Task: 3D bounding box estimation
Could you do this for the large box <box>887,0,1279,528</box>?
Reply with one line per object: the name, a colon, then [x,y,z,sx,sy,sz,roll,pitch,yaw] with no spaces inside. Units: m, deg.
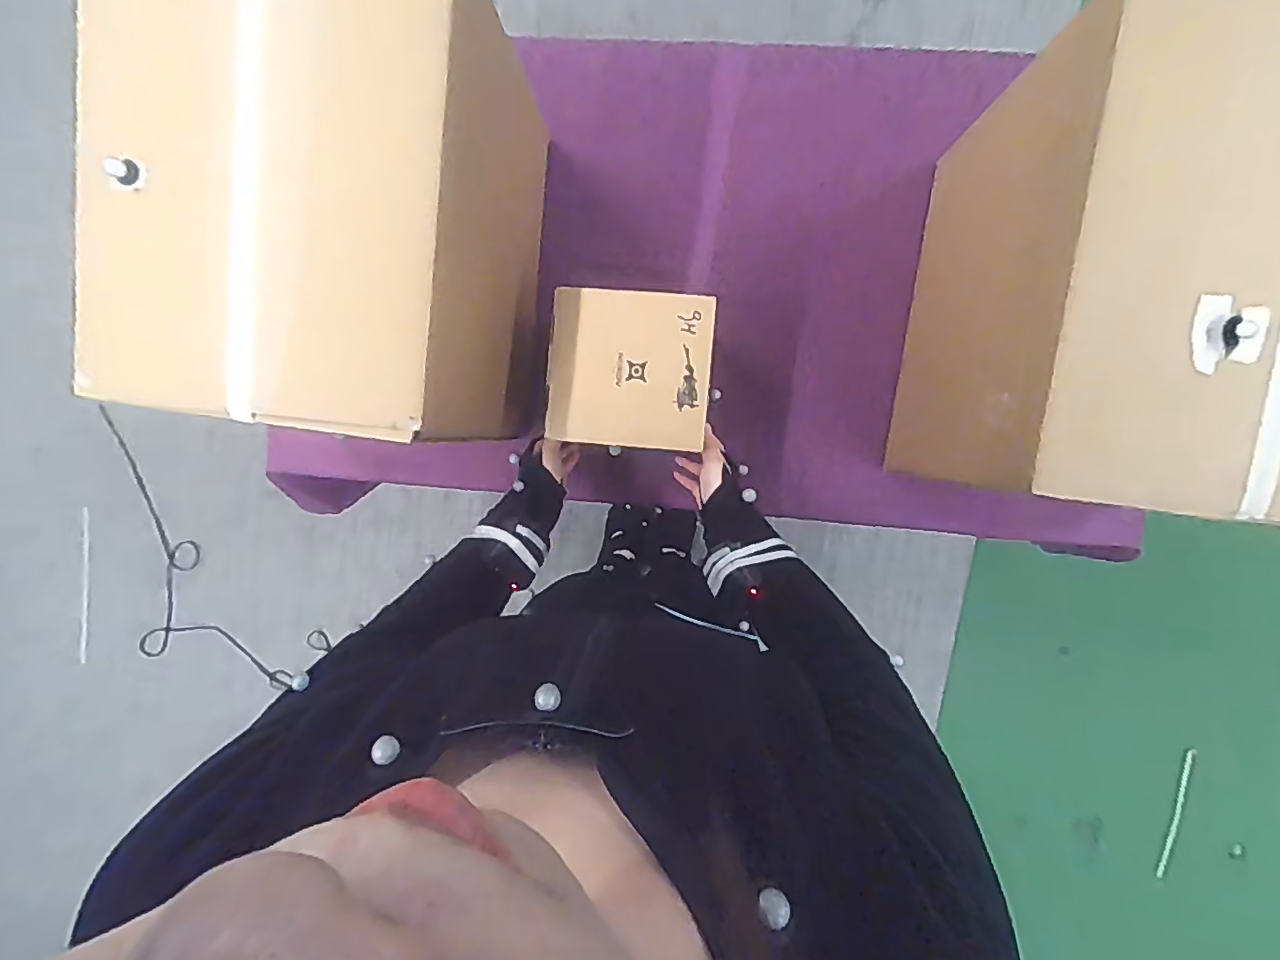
large box: [0.497,-0.181,0.561,0.320,0.320,0.408,8,96,3]
